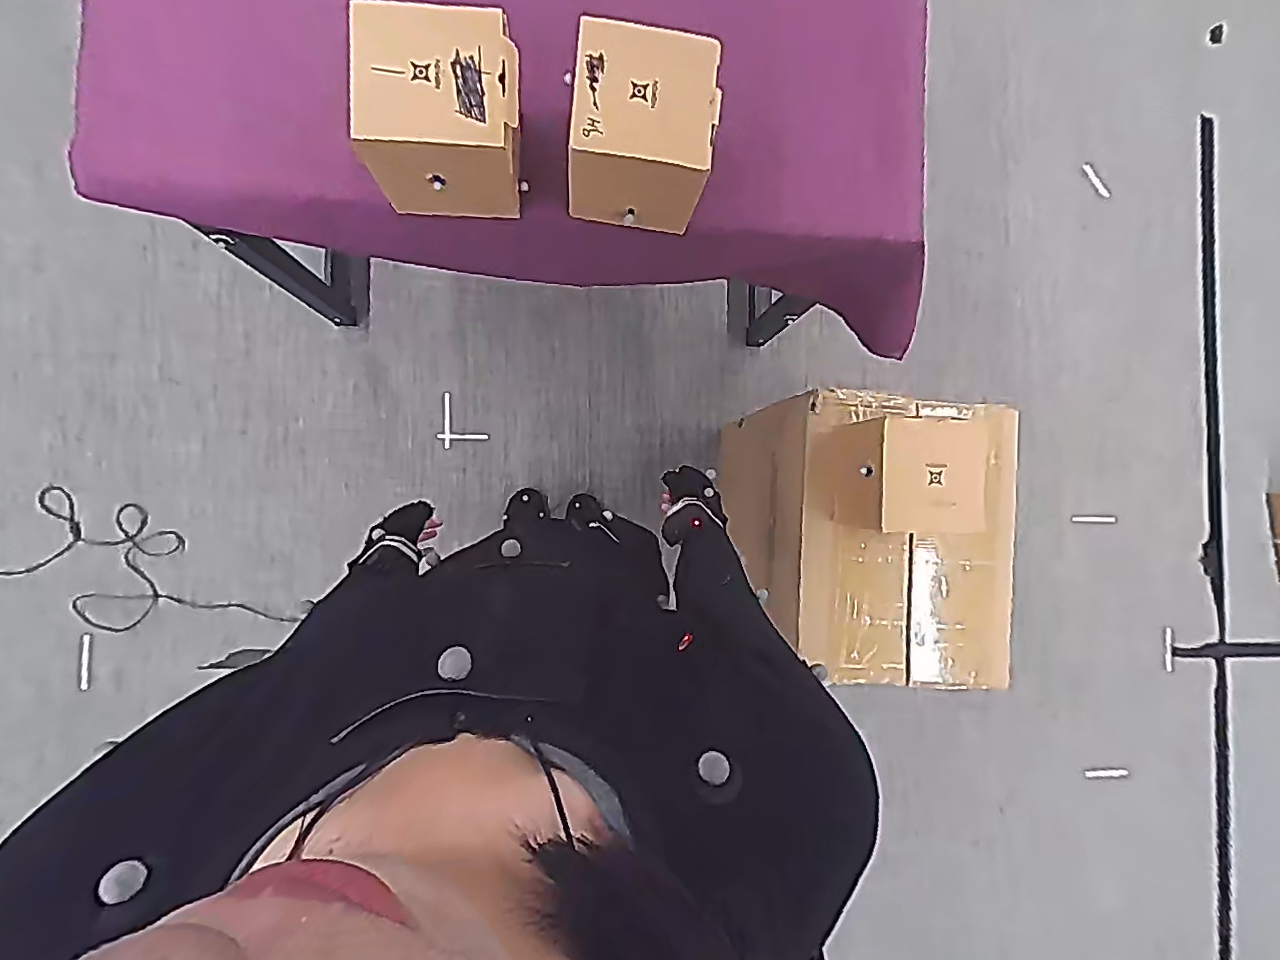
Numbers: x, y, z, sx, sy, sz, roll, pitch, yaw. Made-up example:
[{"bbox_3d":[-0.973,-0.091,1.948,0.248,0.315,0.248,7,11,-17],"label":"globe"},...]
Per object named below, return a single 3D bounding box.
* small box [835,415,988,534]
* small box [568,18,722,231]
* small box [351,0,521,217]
[{"bbox_3d":[0.432,-0.006,0.882,0.168,0.176,0.179,1,90,-4],"label":"small box"},{"bbox_3d":[-0.002,-0.464,0.736,0.179,0.176,0.168,6,87,-8],"label":"small box"},{"bbox_3d":[-0.251,-0.465,0.704,0.179,0.176,0.168,0,88,-6],"label":"small box"}]
